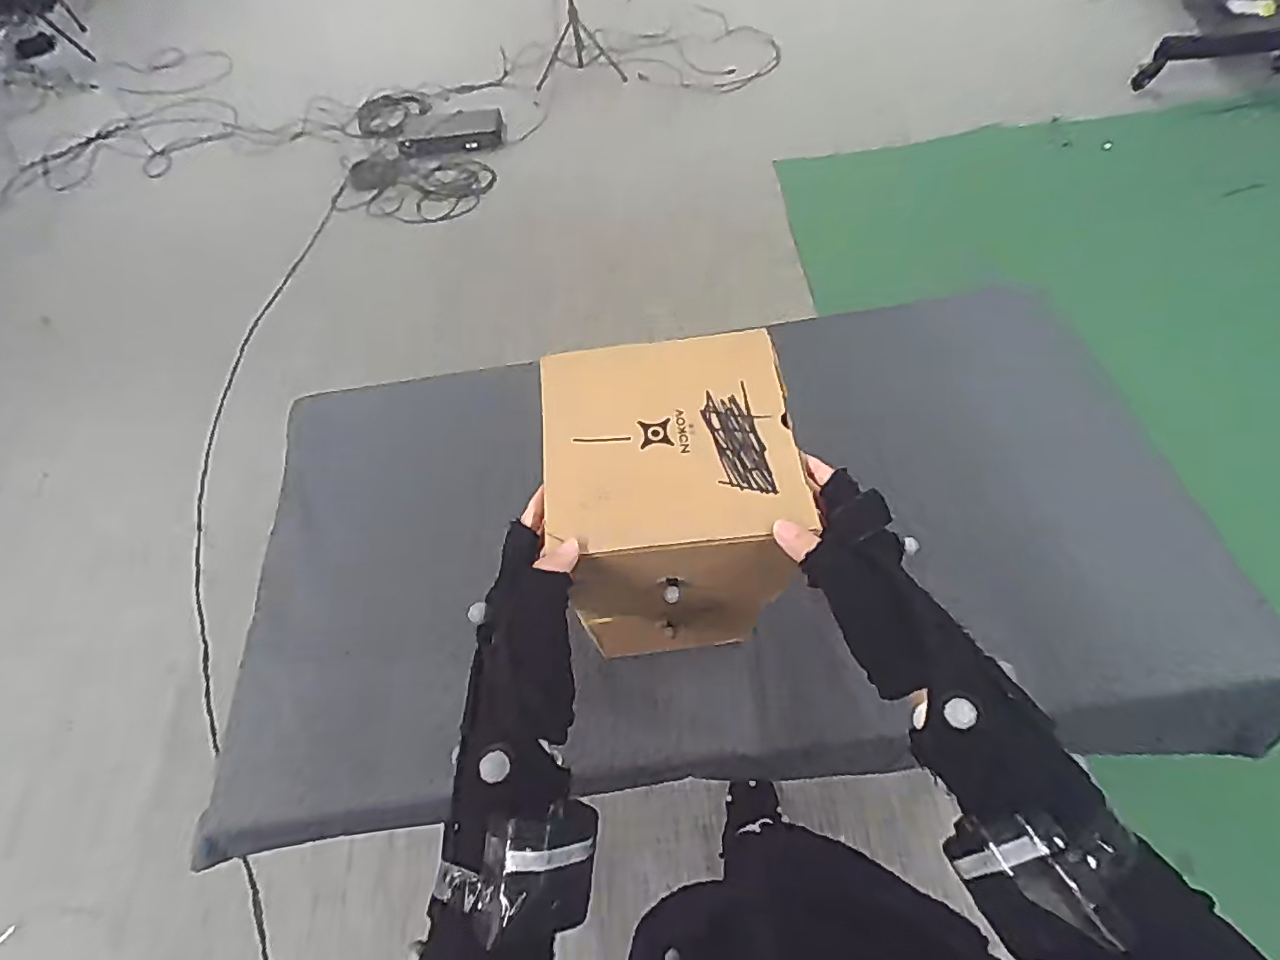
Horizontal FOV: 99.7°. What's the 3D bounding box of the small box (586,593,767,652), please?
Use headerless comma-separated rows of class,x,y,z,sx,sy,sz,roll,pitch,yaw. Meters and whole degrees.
small box,0.034,0.091,0.618,0.179,0.176,0.168,-8,62,0

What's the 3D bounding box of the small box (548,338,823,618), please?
small box,0.027,0.009,0.447,0.179,0.176,0.168,-7,63,0
